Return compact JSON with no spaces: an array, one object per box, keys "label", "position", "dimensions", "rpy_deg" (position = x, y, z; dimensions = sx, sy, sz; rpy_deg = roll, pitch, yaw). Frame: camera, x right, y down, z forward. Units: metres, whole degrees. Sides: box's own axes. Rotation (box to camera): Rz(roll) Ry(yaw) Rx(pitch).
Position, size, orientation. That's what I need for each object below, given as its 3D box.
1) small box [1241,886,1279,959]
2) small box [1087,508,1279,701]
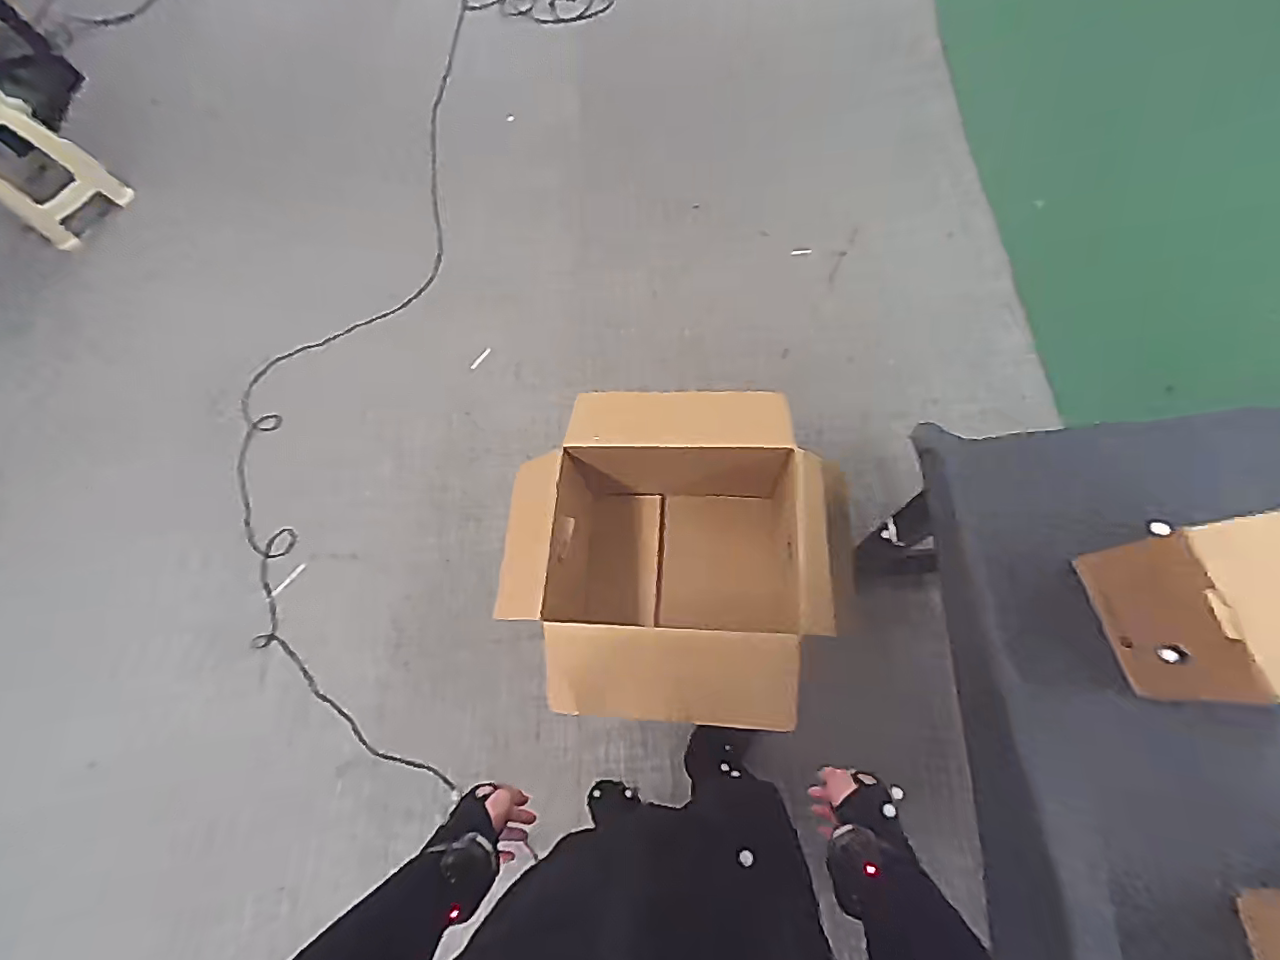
[{"label":"small box","position":[0.684,0.474,0.446],"dimensions":[0.168,0.176,0.179],"rpy_deg":[-3,71,6]},{"label":"small box","position":[0.634,0.132,0.576],"dimensions":[0.179,0.176,0.168],"rpy_deg":[-12,71,0]}]
